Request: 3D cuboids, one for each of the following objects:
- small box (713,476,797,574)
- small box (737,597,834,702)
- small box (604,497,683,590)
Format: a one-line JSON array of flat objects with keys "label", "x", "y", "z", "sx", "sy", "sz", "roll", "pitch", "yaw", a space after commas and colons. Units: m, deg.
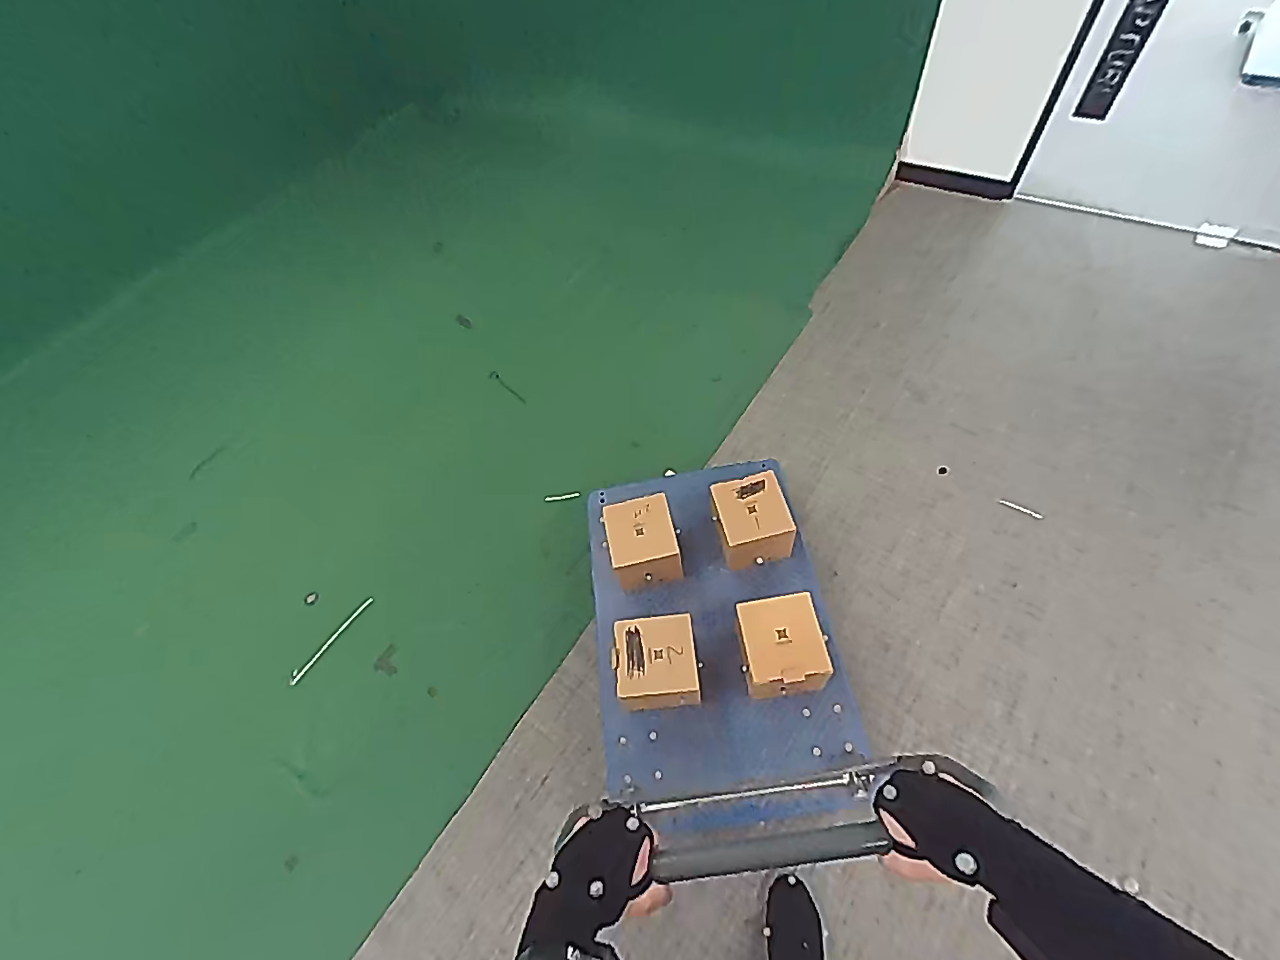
[{"label": "small box", "x": 0.287, "y": 0.118, "z": 1.383, "sx": 0.168, "sy": 0.176, "sz": 0.179, "roll": -14, "pitch": 58, "yaw": 1}, {"label": "small box", "x": 0.315, "y": 0.385, "z": 1.217, "sx": 0.168, "sy": 0.176, "sz": 0.179, "roll": -10, "pitch": 58, "yaw": 2}, {"label": "small box", "x": 0.012, "y": 0.171, "z": 1.392, "sx": 0.168, "sy": 0.176, "sz": 0.179, "roll": -12, "pitch": 58, "yaw": 0}]
